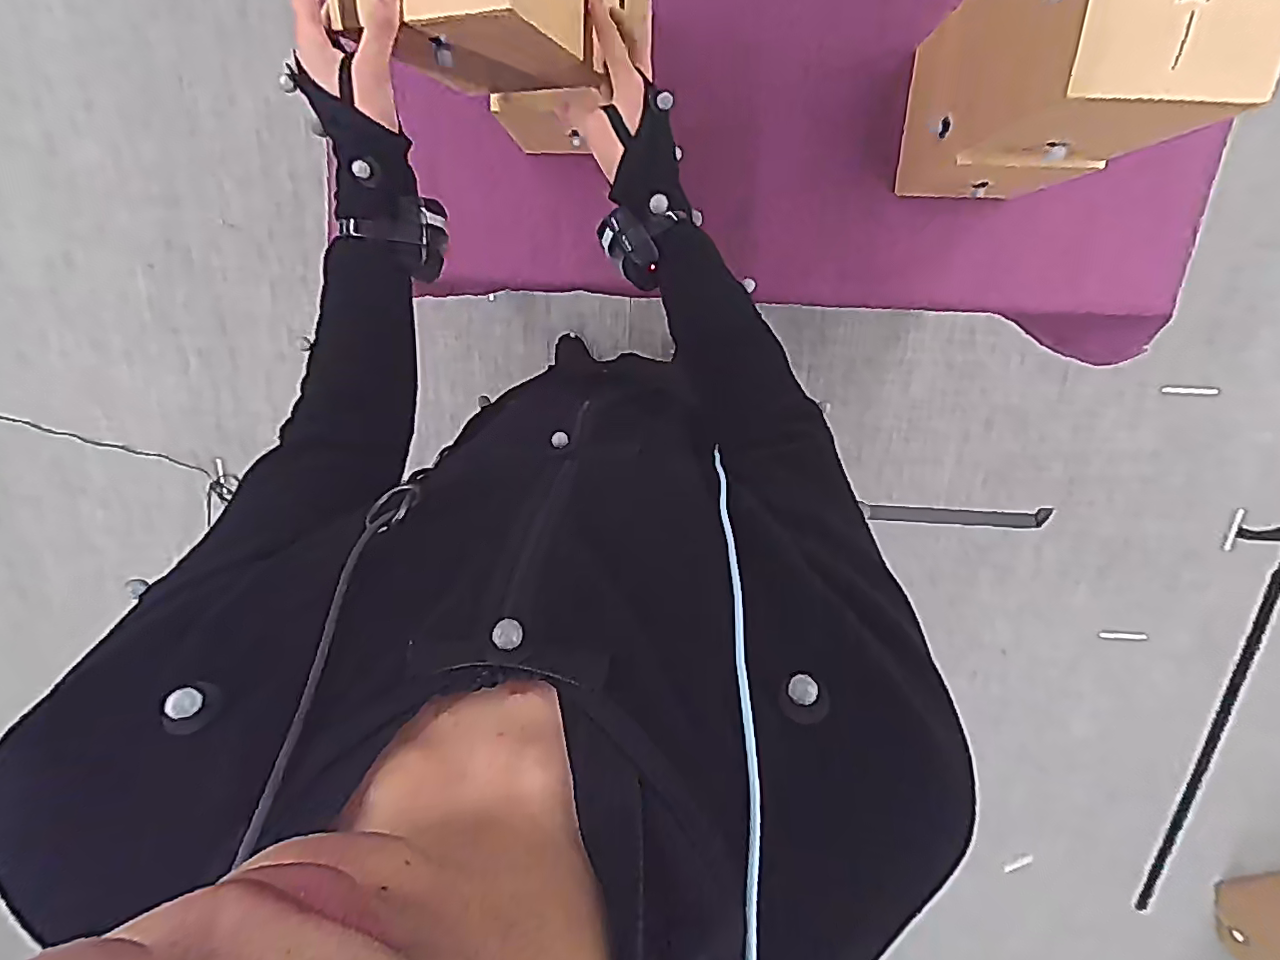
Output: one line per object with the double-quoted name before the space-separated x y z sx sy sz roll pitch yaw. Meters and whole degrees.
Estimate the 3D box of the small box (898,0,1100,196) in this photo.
"small box" 0.438 -0.456 0.657 0.168 0.176 0.179 3 107 0

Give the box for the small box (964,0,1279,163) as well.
"small box" 0.436 -0.416 0.498 0.168 0.176 0.179 3 108 1

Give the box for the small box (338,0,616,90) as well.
"small box" -0.123 -0.441 0.441 0.179 0.176 0.168 12 114 20
